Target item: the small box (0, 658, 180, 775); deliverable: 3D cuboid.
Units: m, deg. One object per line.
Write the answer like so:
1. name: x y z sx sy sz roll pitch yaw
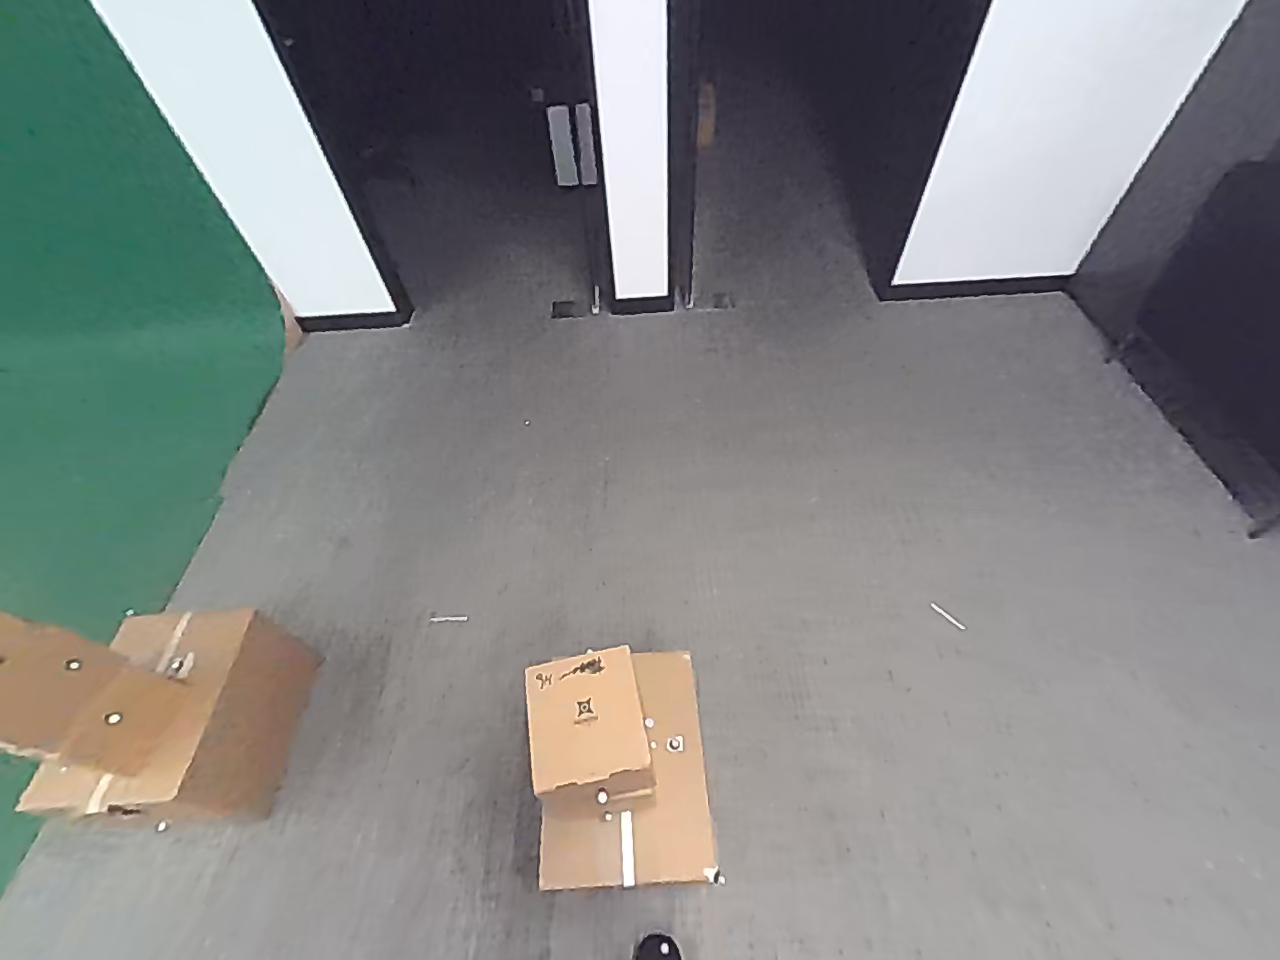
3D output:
1. small box: -1.061 0.454 1.053 0.168 0.176 0.179 5 53 8

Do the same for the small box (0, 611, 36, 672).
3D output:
1. small box: -1.091 0.249 0.799 0.179 0.176 0.168 8 53 10

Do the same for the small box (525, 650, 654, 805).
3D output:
1. small box: -0.075 0.391 0.842 0.168 0.176 0.179 -11 53 -4

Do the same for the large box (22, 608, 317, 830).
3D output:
1. large box: -1.046 0.563 1.275 0.320 0.320 0.408 -3 51 0

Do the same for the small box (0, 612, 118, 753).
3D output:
1. small box: -1.074 0.346 0.931 0.168 0.176 0.179 7 54 10
